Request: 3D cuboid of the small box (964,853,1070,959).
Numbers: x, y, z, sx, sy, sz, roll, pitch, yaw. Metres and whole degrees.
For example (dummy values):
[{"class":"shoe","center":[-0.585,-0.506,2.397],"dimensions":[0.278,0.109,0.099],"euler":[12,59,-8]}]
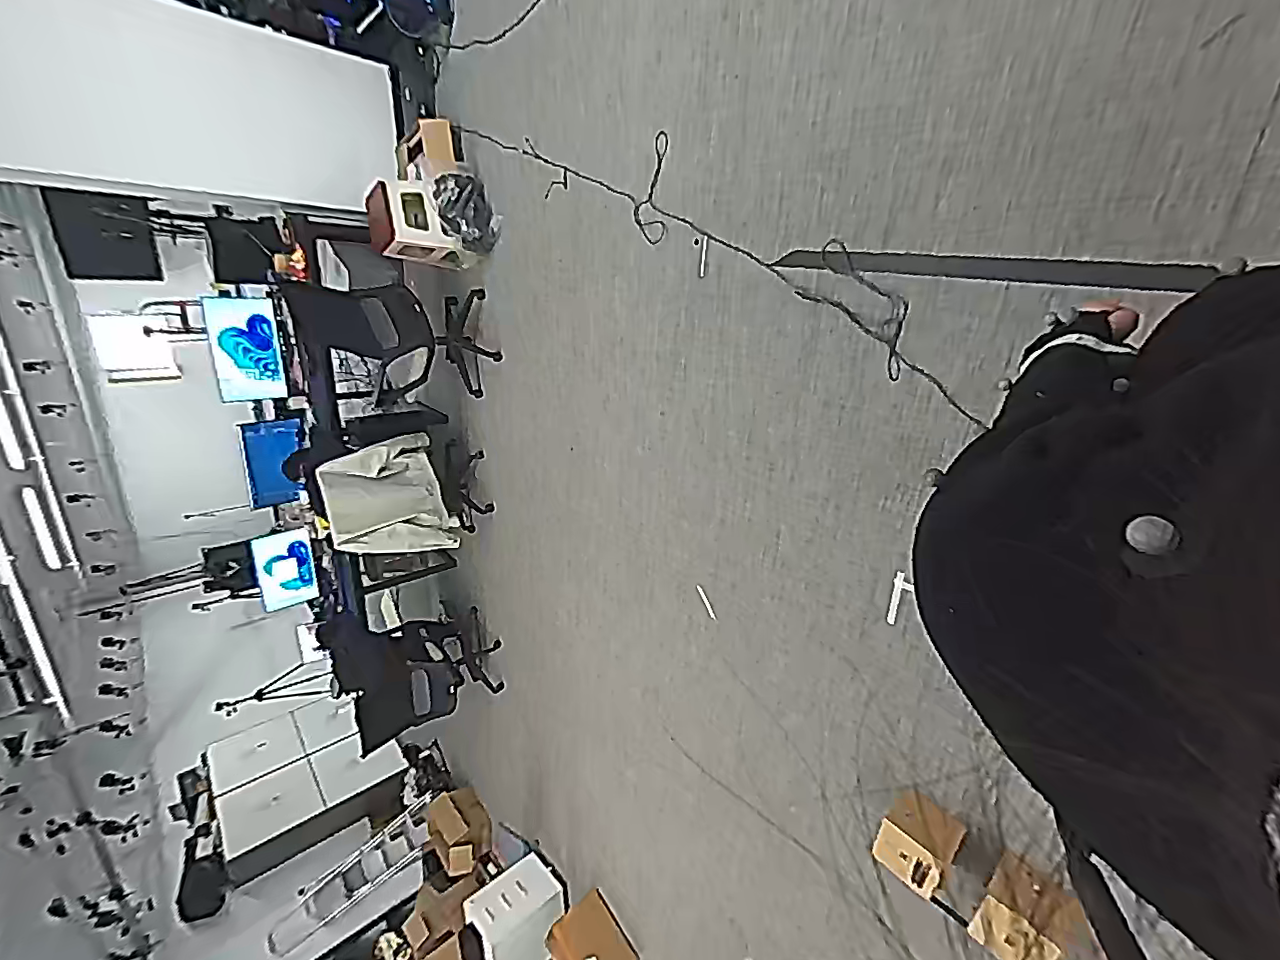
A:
[{"class":"small box","center":[1.002,1.154,1.433],"dimensions":[0.168,0.176,0.179],"euler":[27,121,41]}]
